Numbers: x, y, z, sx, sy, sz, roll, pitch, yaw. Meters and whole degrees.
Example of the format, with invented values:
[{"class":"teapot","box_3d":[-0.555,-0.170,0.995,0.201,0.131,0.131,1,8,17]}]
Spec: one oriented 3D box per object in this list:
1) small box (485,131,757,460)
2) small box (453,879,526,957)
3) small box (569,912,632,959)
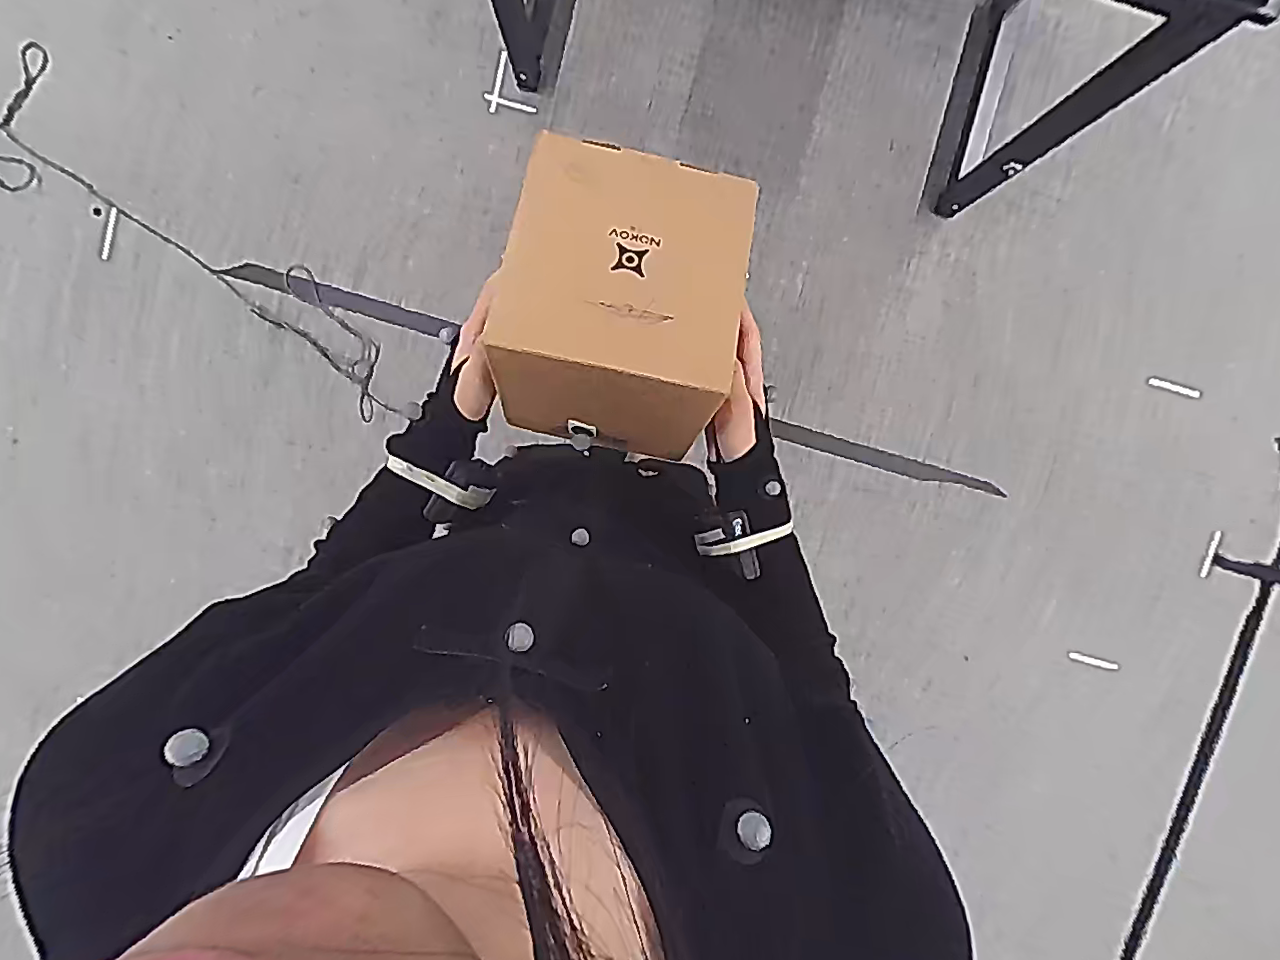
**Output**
[{"class":"small box","box_3d":[-0.016,-0.133,0.446,0.168,0.176,0.179,11,75,-4]},{"class":"small box","box_3d":[-0.430,1.277,1.511,0.168,0.176,0.179,18,94,-4]},{"class":"small box","box_3d":[-0.114,1.369,1.532,0.179,0.176,0.168,3,95,-3]}]
